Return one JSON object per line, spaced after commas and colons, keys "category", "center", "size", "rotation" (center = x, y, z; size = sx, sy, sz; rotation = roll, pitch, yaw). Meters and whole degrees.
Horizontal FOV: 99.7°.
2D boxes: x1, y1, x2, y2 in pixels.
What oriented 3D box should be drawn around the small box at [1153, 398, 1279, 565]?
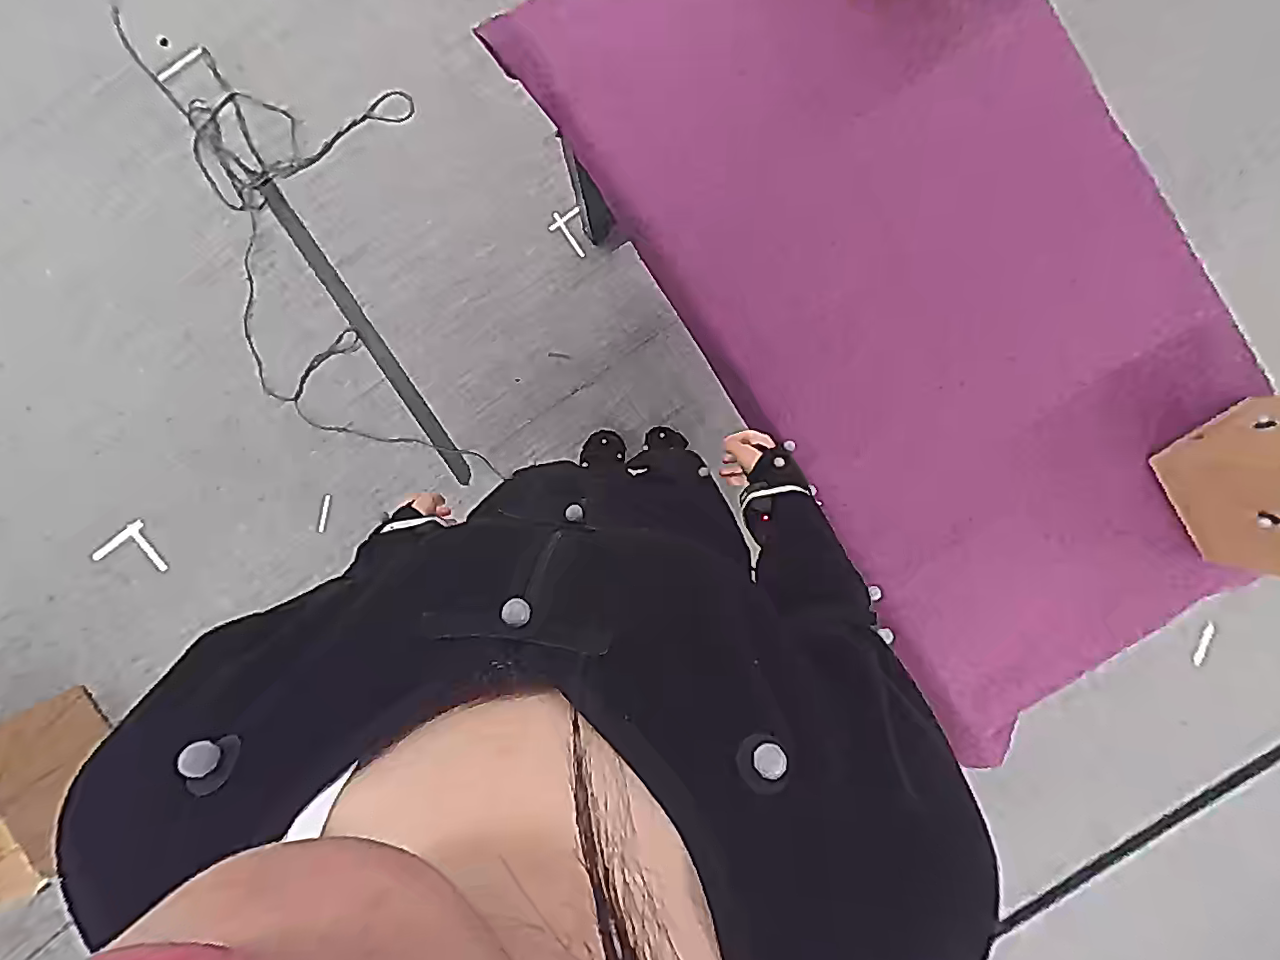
{"category": "small box", "center": [0.836, 0.001, 0.698], "size": [0.168, 0.176, 0.179], "rotation": [-33, 95, 3]}
